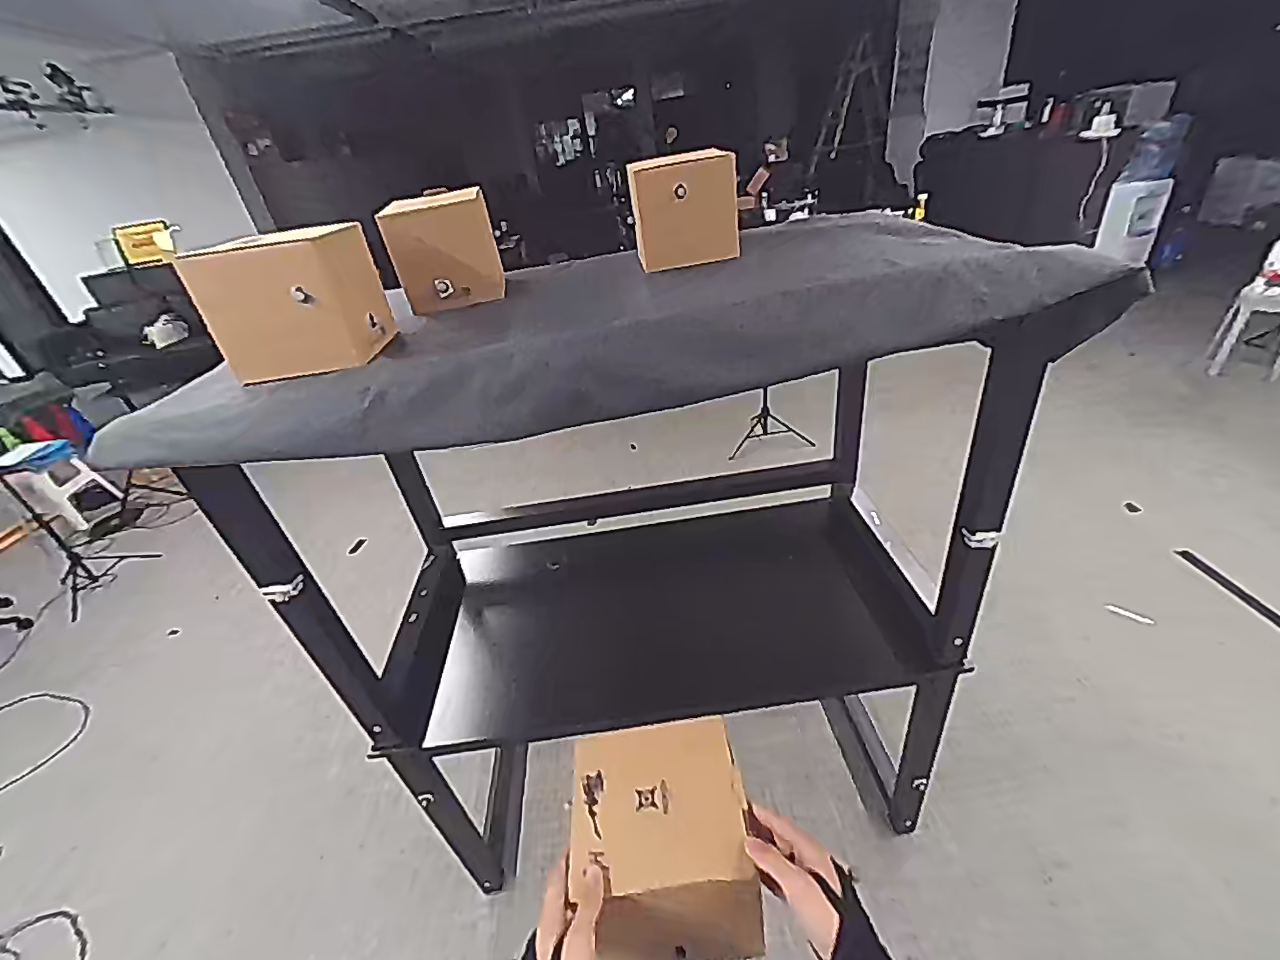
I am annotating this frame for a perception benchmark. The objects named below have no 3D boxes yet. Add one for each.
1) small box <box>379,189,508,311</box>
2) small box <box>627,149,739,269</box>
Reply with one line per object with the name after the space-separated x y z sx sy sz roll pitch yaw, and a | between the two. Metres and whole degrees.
-0.347 -0.422 0.991 0.168 0.176 0.179 -14 34 -4 | small box
0.079 -0.503 1.004 0.179 0.176 0.168 -9 34 1 | small box
